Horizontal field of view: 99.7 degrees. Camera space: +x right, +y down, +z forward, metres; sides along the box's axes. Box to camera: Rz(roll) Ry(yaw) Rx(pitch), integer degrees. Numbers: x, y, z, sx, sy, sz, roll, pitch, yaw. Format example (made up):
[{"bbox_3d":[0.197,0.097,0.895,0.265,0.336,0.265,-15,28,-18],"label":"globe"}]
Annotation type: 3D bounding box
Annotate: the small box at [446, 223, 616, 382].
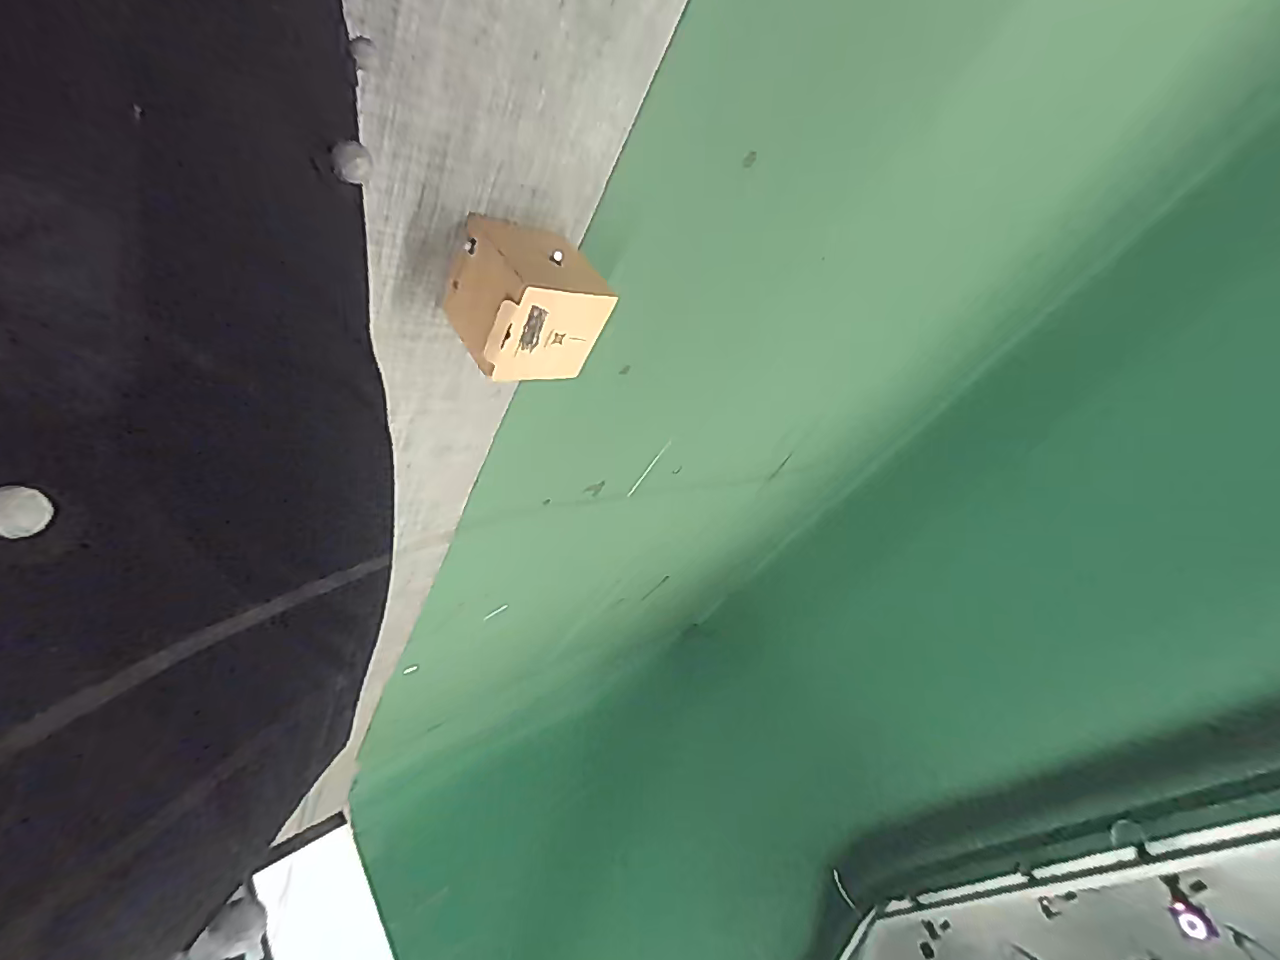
[{"bbox_3d":[-0.177,-0.272,0.844,0.179,0.176,0.168,-12,147,-45],"label":"small box"}]
